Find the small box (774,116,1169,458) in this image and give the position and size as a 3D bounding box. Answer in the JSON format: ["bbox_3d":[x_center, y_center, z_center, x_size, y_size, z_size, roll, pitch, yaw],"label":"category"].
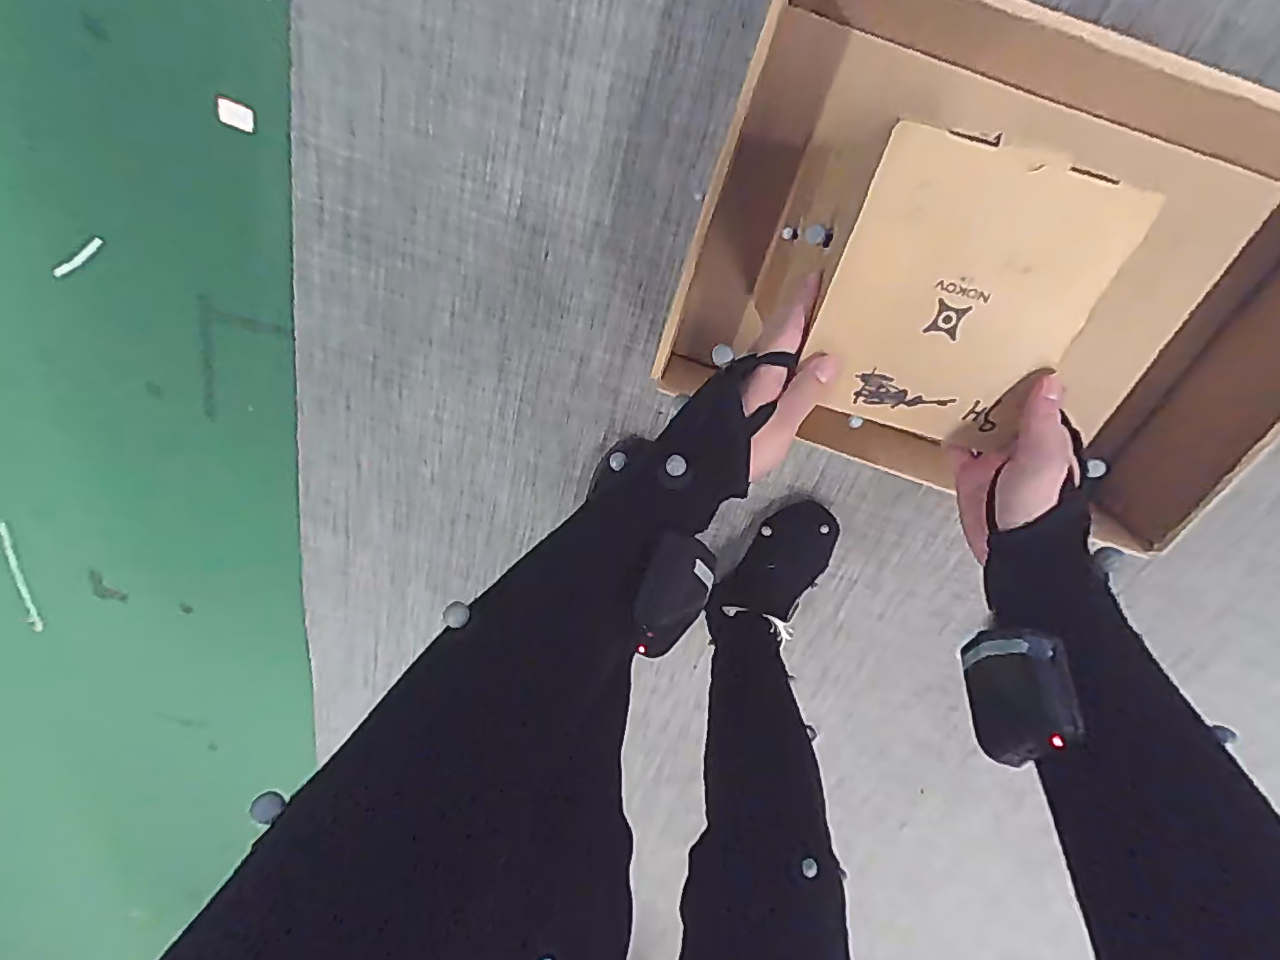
[{"bbox_3d":[0.214,-0.147,0.417,0.168,0.176,0.179,16,118,-2],"label":"small box"}]
